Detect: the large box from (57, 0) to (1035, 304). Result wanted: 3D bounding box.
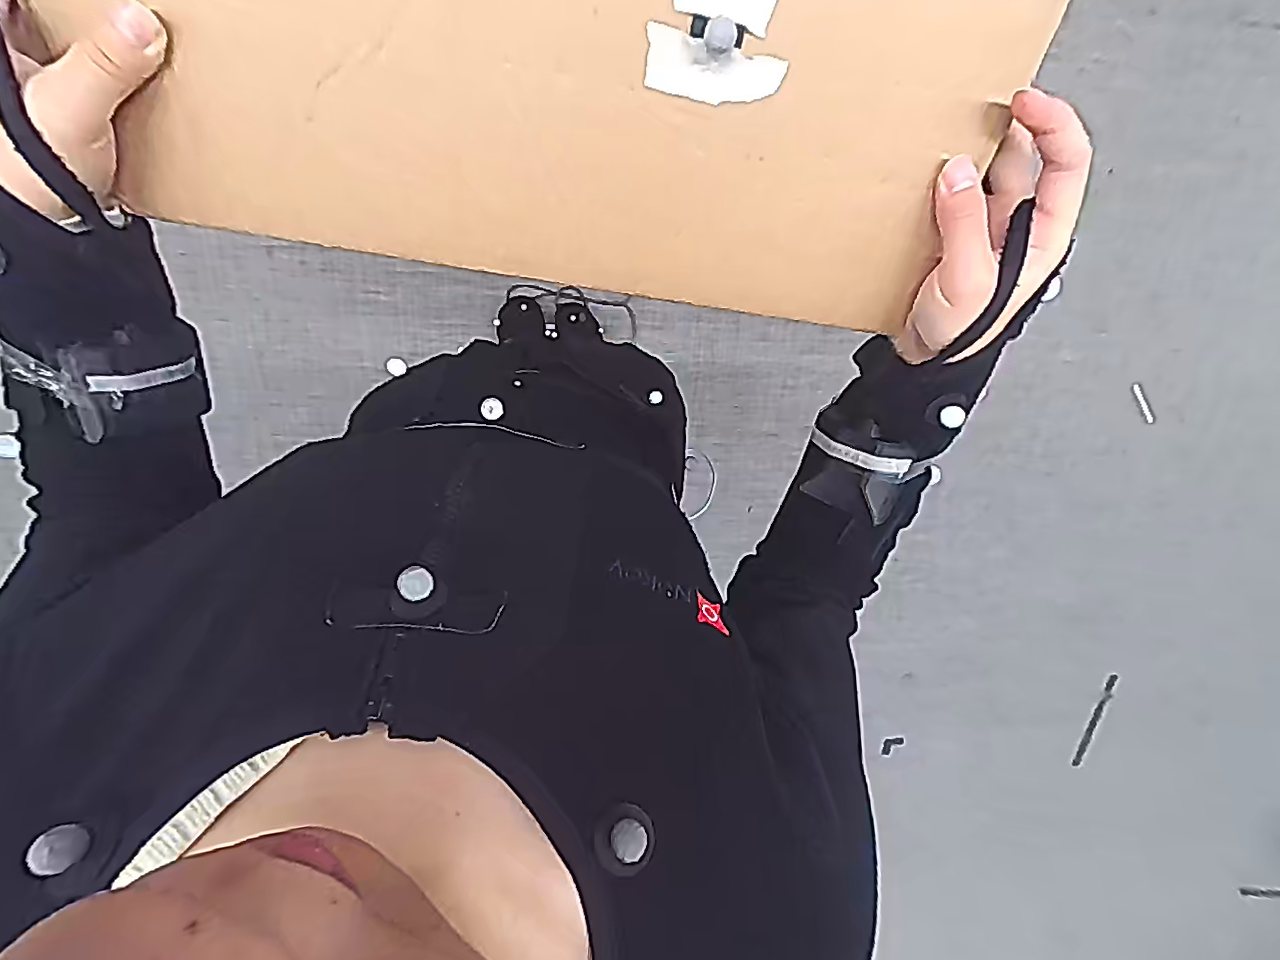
[{"bbox_3d":[-0.032,-0.329,0.312,0.408,0.320,0.320,6,128,-8],"label":"large box"}]
